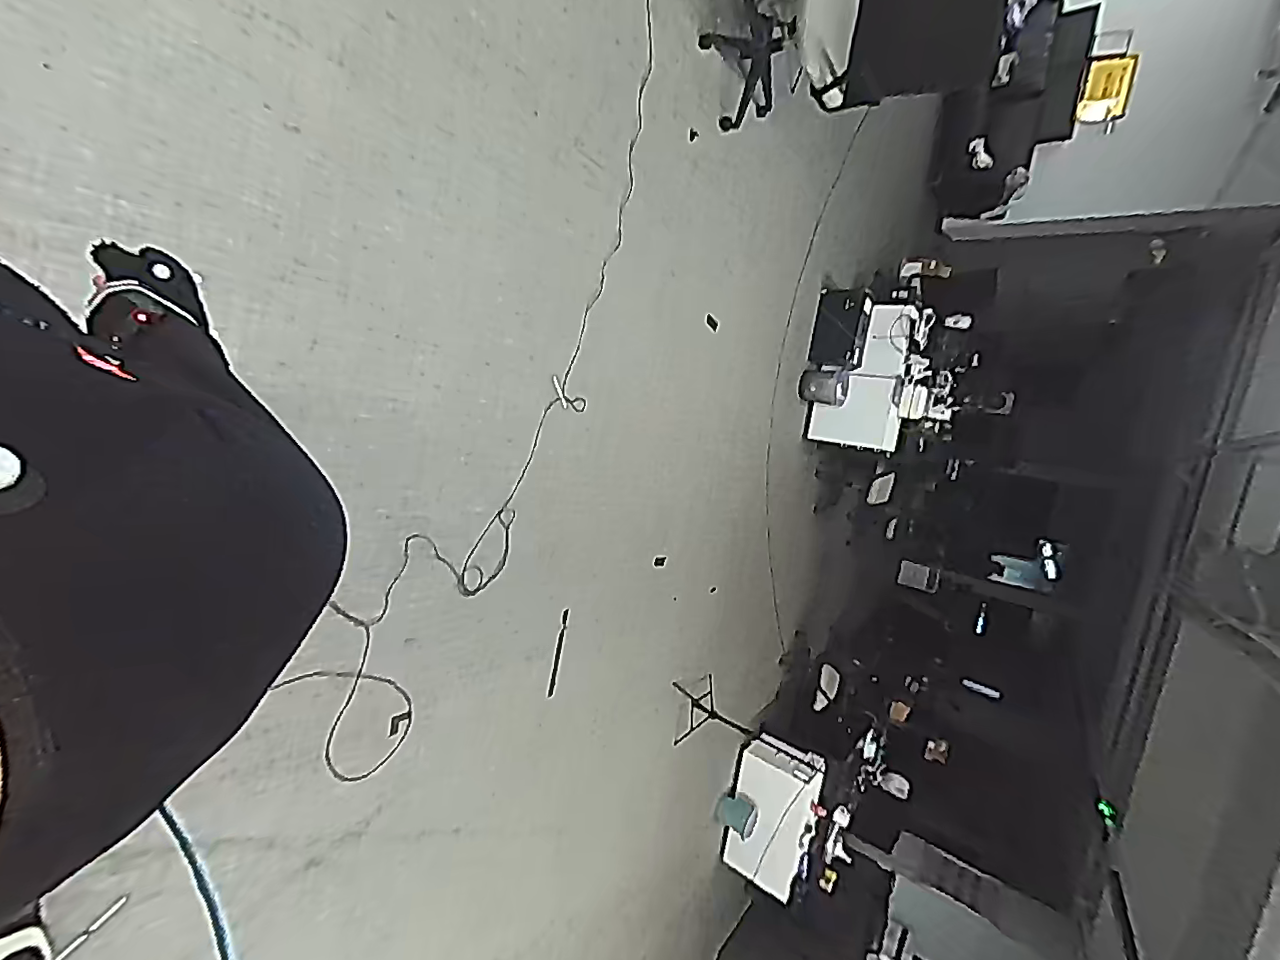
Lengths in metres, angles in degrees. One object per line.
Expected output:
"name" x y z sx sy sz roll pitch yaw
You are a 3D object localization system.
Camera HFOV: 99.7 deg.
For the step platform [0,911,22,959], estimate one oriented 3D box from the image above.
"step platform" -1.448 1.022 0.815 0.684 0.204 0.286 0 102 -53
